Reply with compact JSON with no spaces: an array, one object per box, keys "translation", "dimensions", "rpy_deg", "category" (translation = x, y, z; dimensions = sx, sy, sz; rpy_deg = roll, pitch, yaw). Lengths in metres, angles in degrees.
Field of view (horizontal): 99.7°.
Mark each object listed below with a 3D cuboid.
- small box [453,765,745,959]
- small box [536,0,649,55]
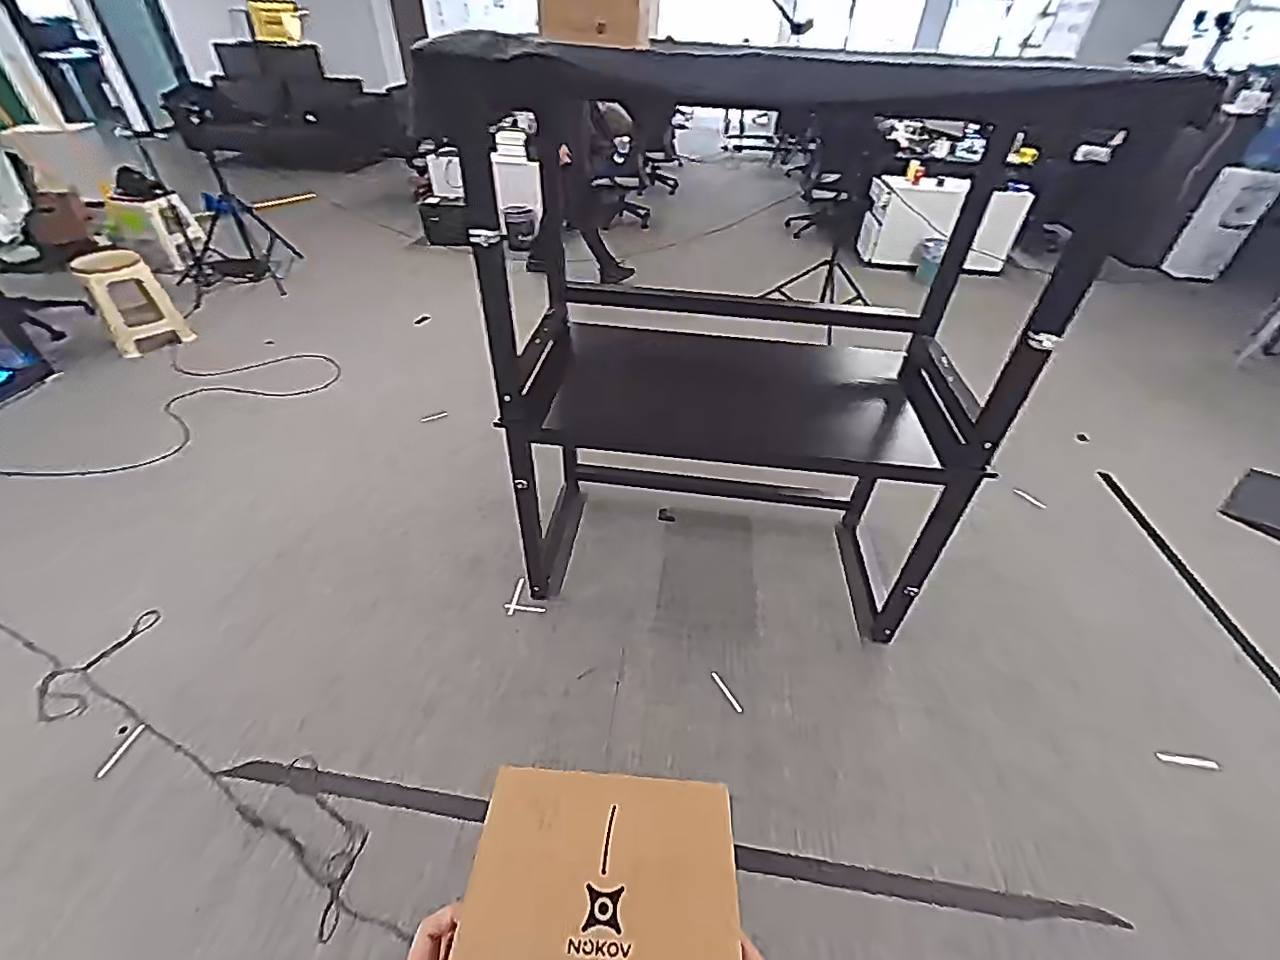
[{"translation":[-0.024,0.324,0.359],"dimensions":[0.168,0.176,0.179],"rpy_deg":[4,34,1],"category":"small box"},{"translation":[-0.073,-0.807,0.885],"dimensions":[0.168,0.176,0.179],"rpy_deg":[6,38,3],"category":"small box"}]
